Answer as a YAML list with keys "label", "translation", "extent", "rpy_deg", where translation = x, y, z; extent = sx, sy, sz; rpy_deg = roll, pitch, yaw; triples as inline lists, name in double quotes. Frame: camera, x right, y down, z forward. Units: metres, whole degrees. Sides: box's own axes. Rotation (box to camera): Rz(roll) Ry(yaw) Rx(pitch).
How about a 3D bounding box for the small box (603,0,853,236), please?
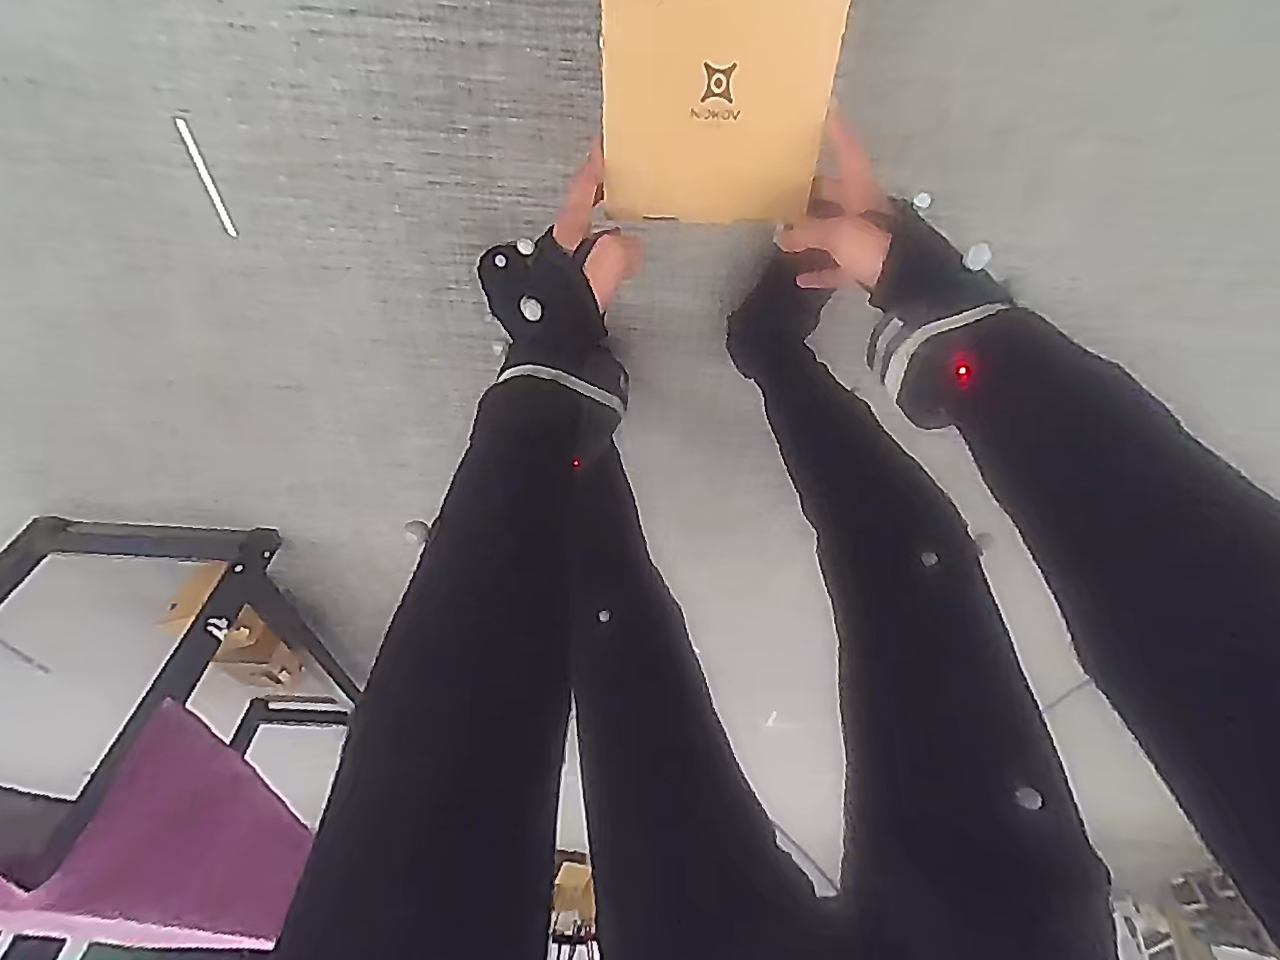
- label: "small box"
  translation: [0.053, -0.320, 0.448]
  extent: [0.168, 0.176, 0.179]
  rpy_deg: [0, 132, -2]

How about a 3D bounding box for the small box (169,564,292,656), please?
- label: "small box"
  translation: [-1.085, 0.349, 1.450]
  extent: [0.179, 0.176, 0.168]
  rpy_deg: [-17, 134, 20]
